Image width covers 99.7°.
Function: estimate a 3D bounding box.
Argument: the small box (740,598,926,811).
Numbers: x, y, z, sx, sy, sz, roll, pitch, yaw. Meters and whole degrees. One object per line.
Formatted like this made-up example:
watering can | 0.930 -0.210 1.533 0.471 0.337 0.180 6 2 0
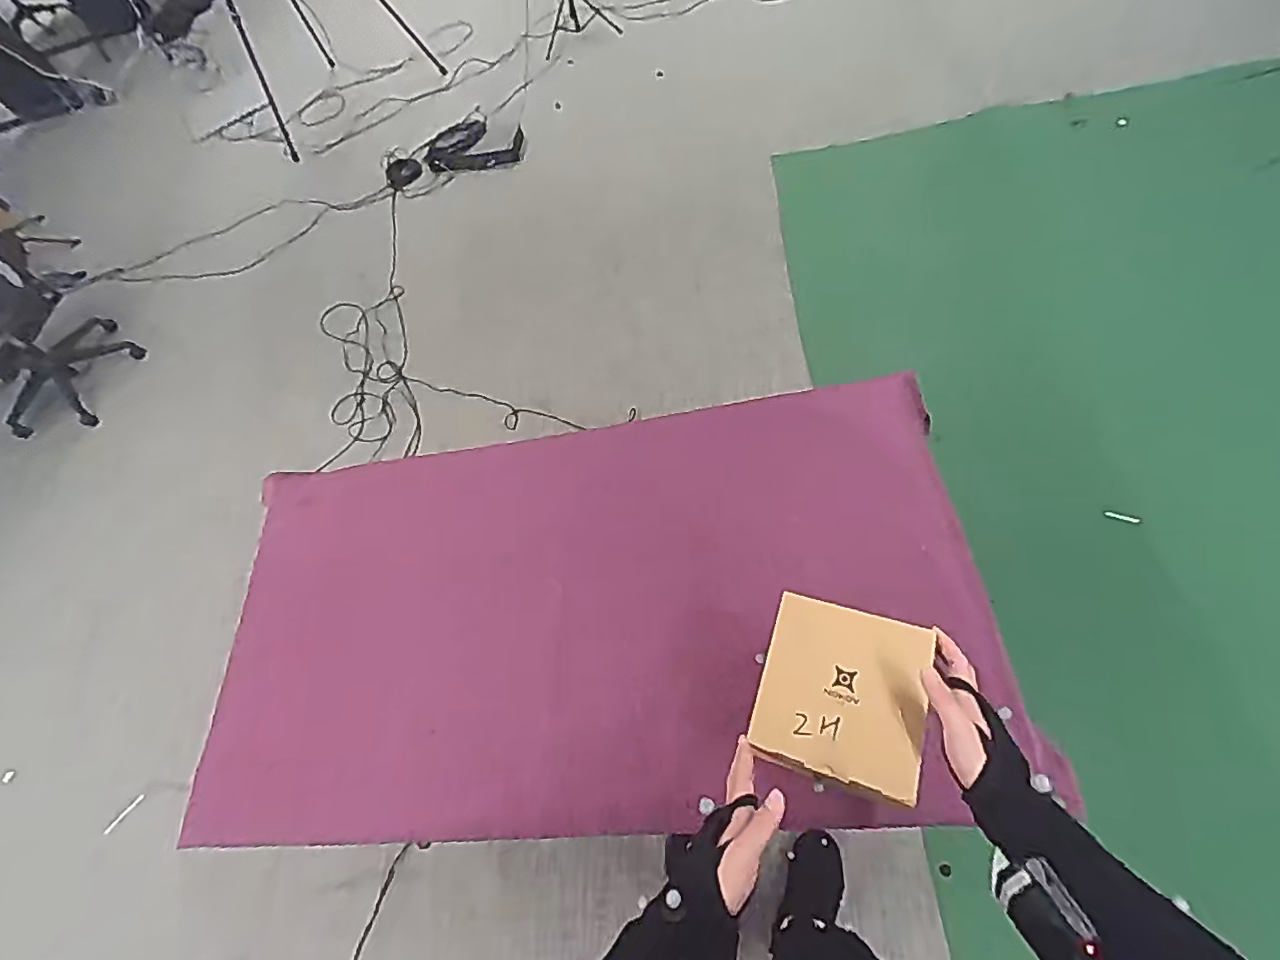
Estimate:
small box | 0.228 0.267 0.648 0.168 0.176 0.179 11 65 23
